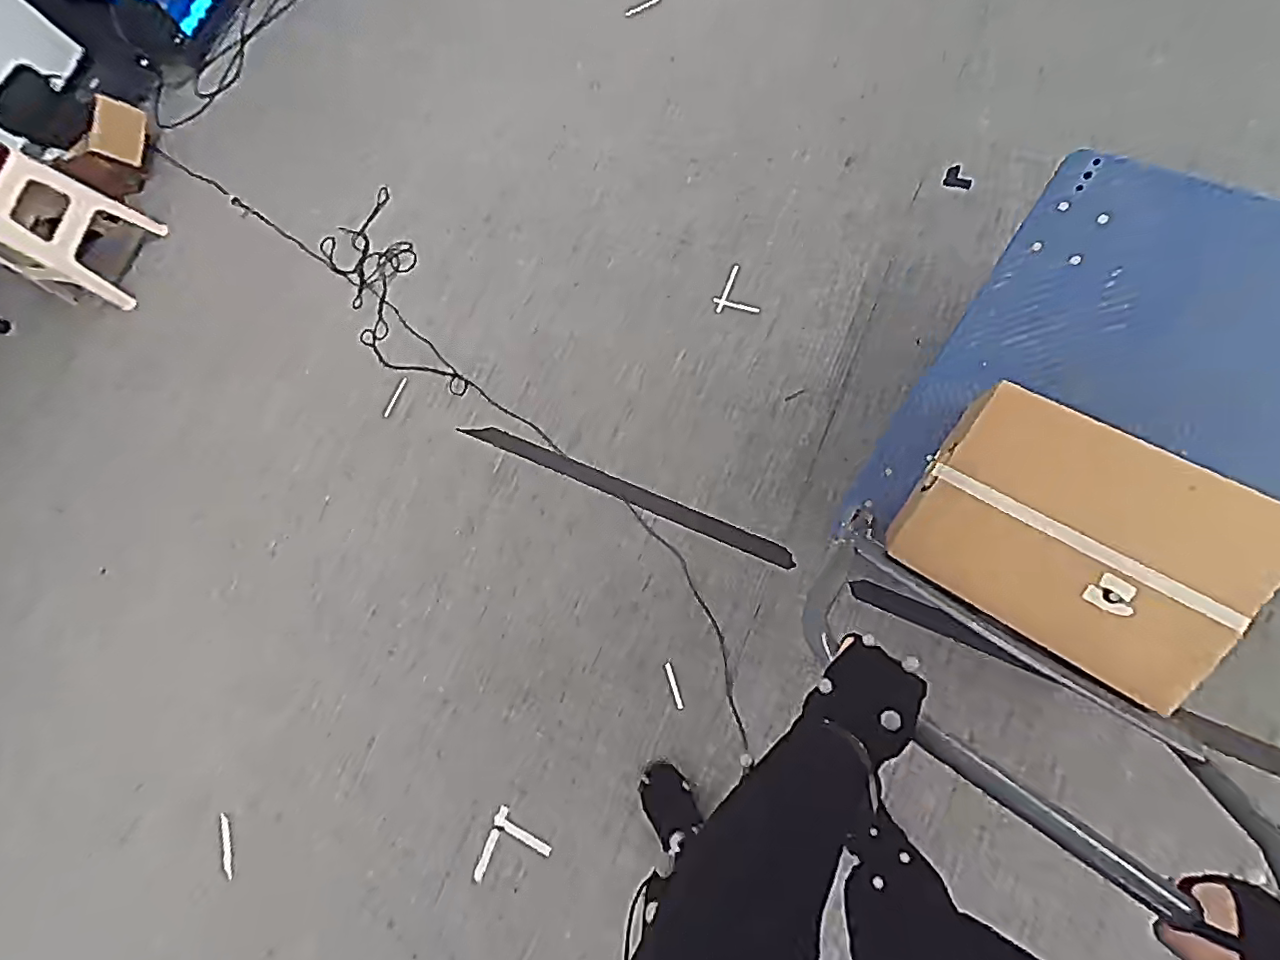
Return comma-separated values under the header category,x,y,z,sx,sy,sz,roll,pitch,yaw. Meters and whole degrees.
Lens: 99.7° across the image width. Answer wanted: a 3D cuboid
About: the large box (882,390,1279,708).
category,x,y,z,sx,sy,sz,roll,pitch,yaw
large box,0.683,0.088,0.919,0.408,0.320,0.320,33,103,19
